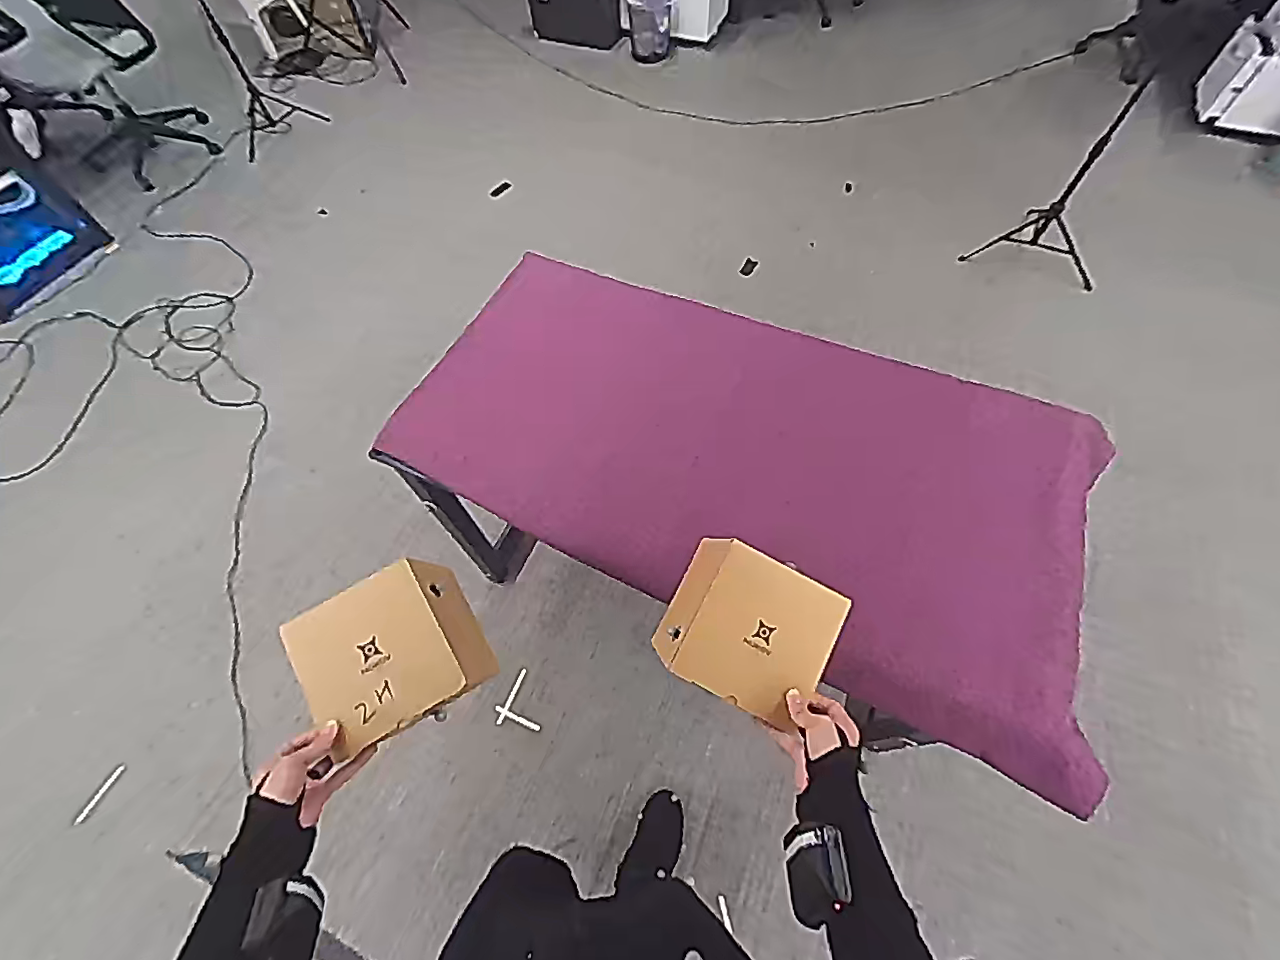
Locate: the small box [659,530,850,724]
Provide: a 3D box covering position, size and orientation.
[{"bbox_3d":[0.136,0.180,0.715,0.168,0.176,0.179,28,83,-1],"label":"small box"}]

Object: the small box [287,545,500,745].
[{"bbox_3d":[-0.307,0.207,0.707,0.168,0.176,0.179,-29,79,-7],"label":"small box"}]
